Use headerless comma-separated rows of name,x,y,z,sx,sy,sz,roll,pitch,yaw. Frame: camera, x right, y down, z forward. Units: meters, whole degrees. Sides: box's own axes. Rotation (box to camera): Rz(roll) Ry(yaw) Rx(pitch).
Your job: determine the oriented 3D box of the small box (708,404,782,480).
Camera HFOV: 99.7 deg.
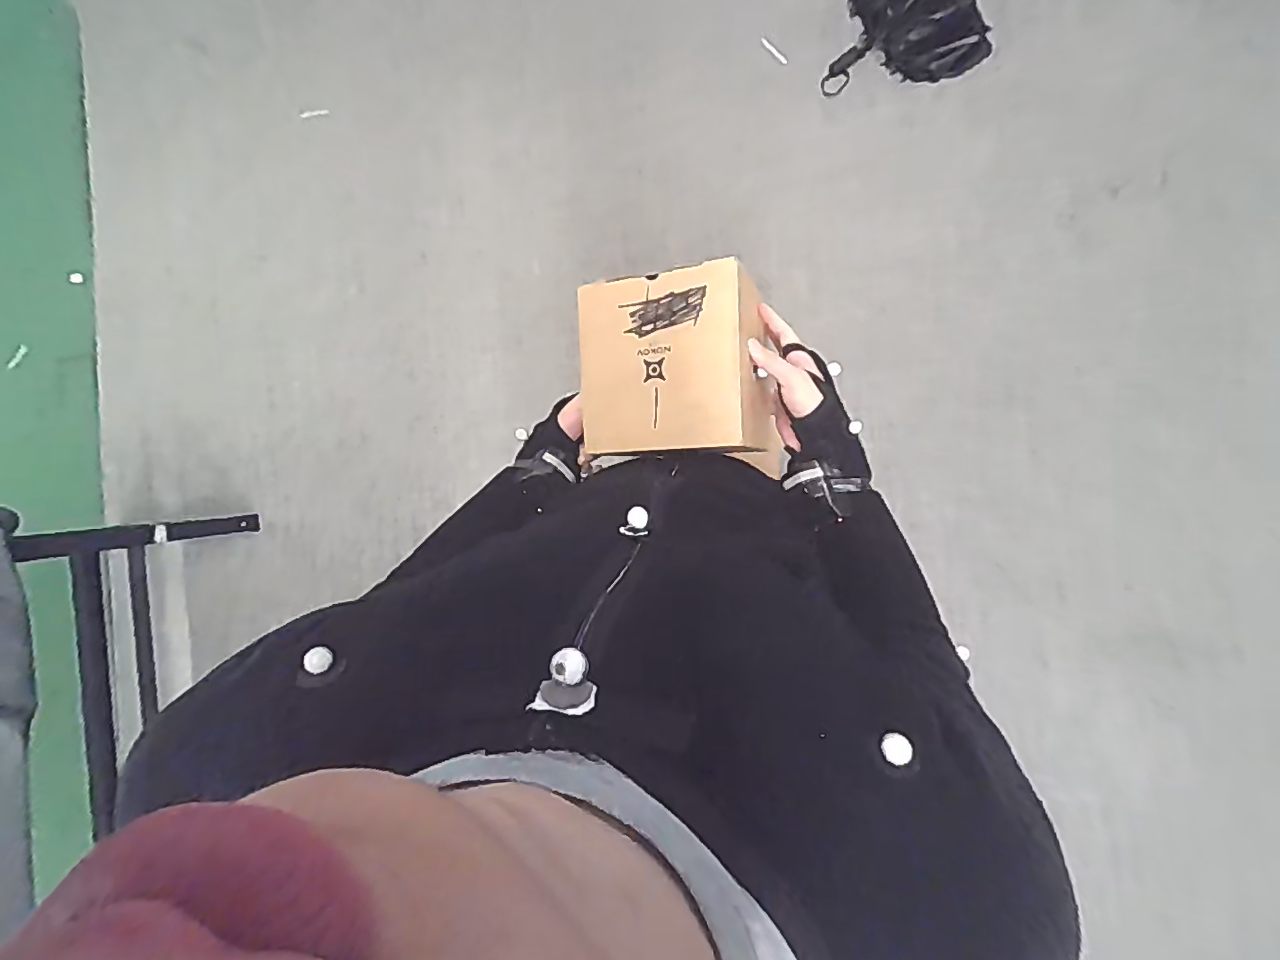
small box,0.278,-0.100,1.456,0.168,0.176,0.179,9,94,10
